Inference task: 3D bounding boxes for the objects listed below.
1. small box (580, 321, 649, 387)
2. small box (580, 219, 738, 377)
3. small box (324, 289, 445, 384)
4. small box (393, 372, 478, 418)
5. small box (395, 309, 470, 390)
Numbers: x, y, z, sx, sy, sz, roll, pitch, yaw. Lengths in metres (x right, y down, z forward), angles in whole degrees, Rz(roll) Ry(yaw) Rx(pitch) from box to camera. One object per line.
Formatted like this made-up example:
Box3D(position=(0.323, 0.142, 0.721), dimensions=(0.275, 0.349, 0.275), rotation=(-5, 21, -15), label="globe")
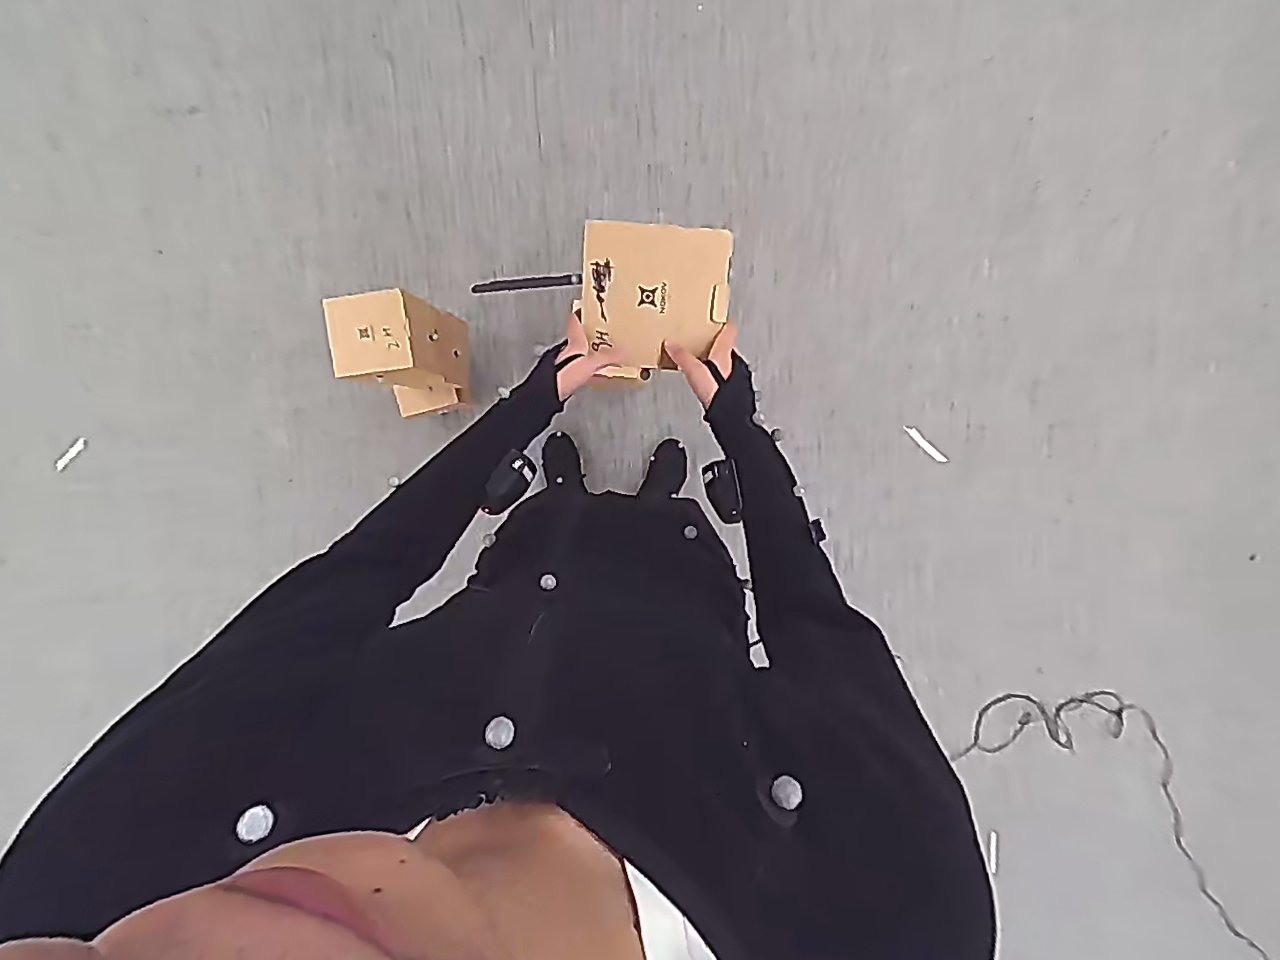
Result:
Box3D(position=(-0.066, -0.351, 1.513), dimensions=(0.179, 0.176, 0.168), rotation=(-3, 95, 1), label="small box")
Box3D(position=(0.017, -0.227, 0.710), dimensions=(0.179, 0.176, 0.168), rotation=(3, 102, -3), label="small box")
Box3D(position=(-0.558, -0.309, 1.201), dimensions=(0.179, 0.176, 0.168), rotation=(-7, 95, 3), label="small box")
Box3D(position=(-0.582, -0.278, 1.533), dimensions=(0.168, 0.176, 0.179), rotation=(-14, 95, 3), label="small box")
Box3D(position=(-0.537, -0.325, 1.363), dimensions=(0.168, 0.176, 0.179), rotation=(1, 95, 3), label="small box")
